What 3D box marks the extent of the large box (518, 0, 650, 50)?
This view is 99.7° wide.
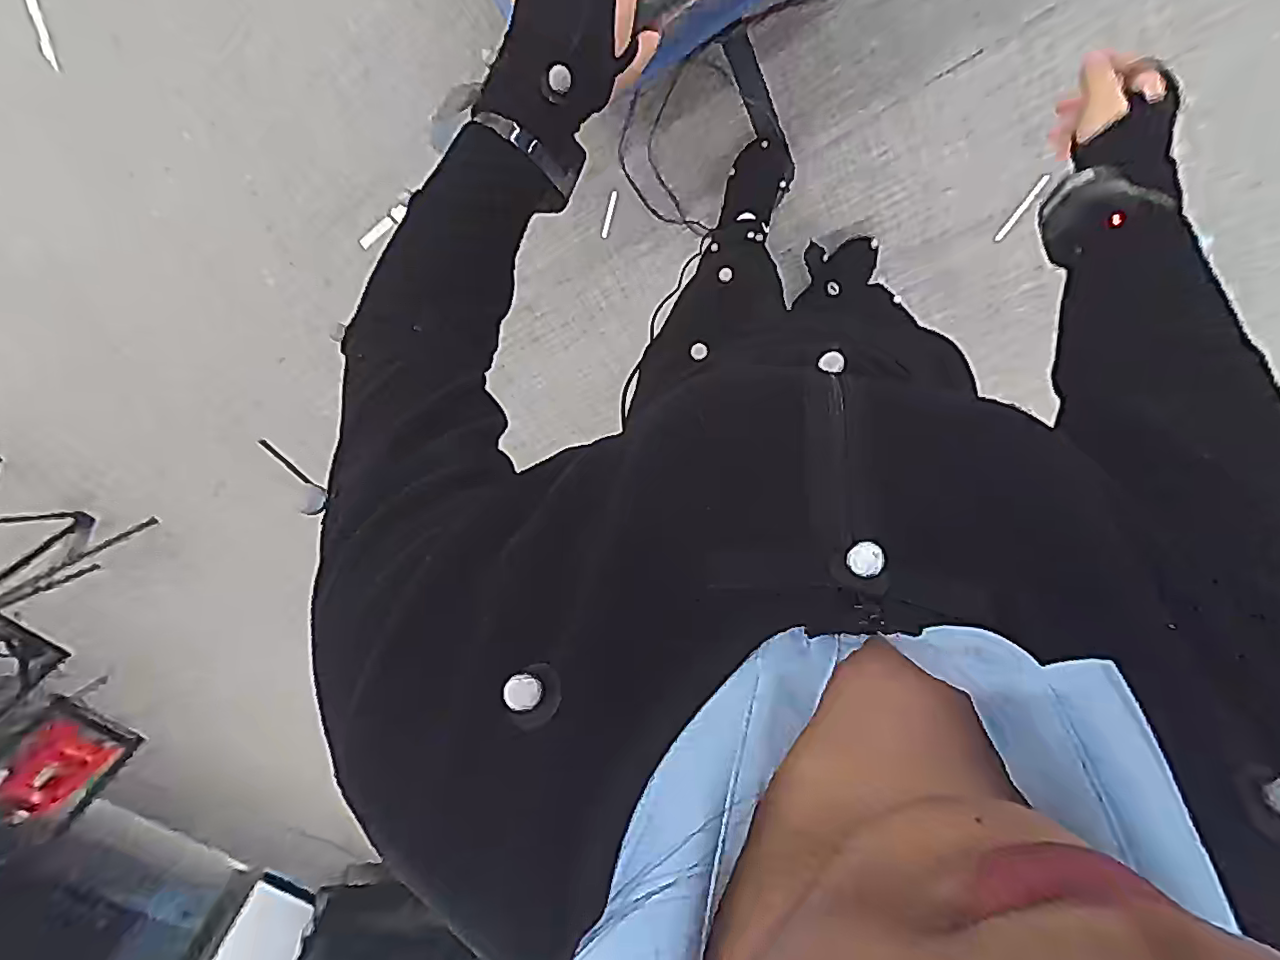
[{"bbox_3d":[-0.025,-0.849,0.693,0.408,0.320,0.320,-22,122,23],"label":"large box"}]
